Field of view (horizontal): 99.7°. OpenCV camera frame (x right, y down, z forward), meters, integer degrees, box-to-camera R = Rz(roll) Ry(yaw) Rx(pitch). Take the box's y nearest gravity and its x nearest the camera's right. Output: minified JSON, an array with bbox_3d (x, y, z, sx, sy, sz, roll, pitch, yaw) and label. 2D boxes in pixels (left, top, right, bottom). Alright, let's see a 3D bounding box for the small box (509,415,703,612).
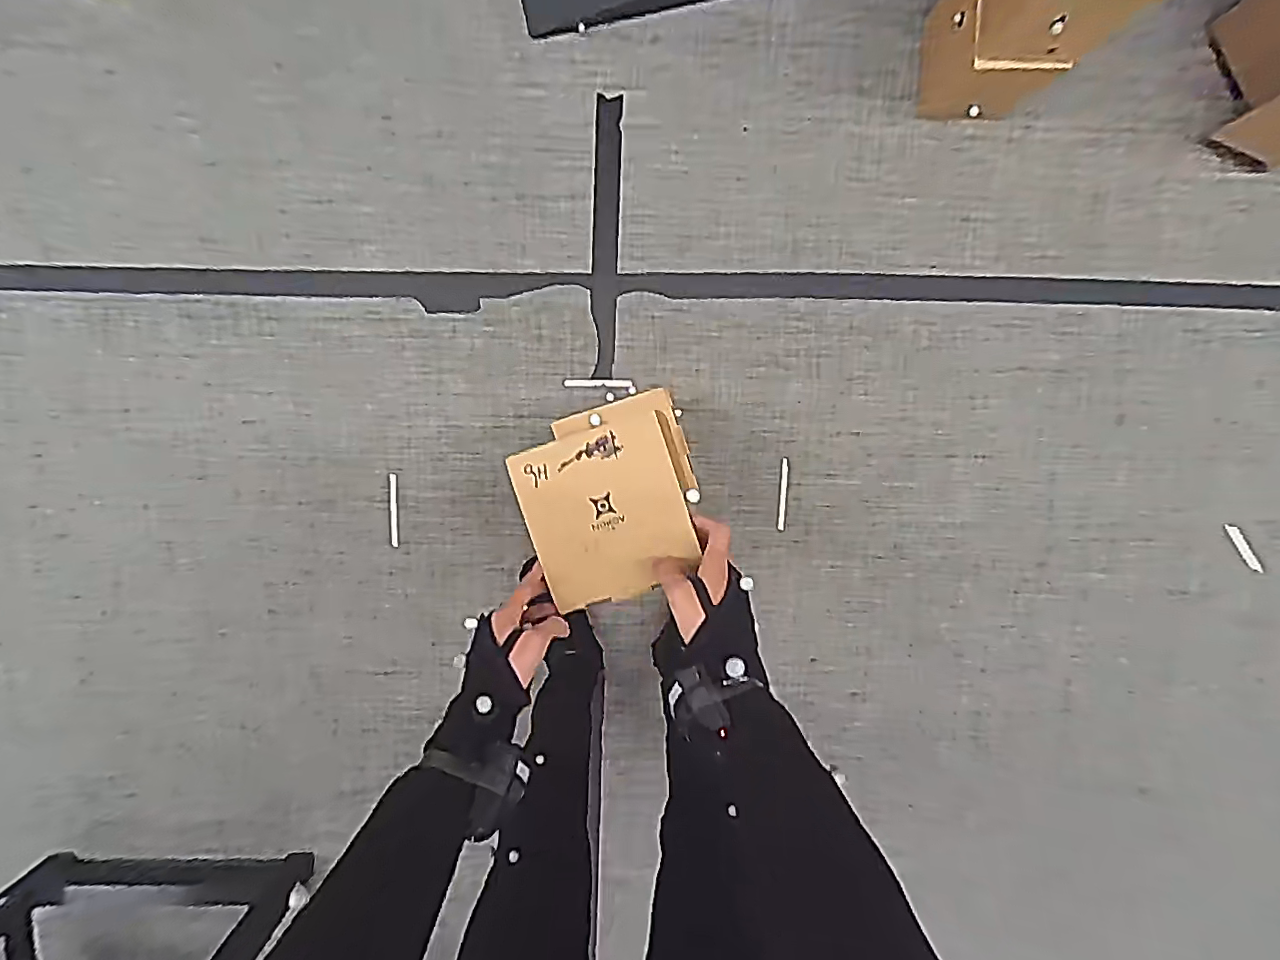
[{"bbox_3d":[-0.026,0.029,0.638,0.168,0.176,0.179,-18,93,7],"label":"small box"}]
